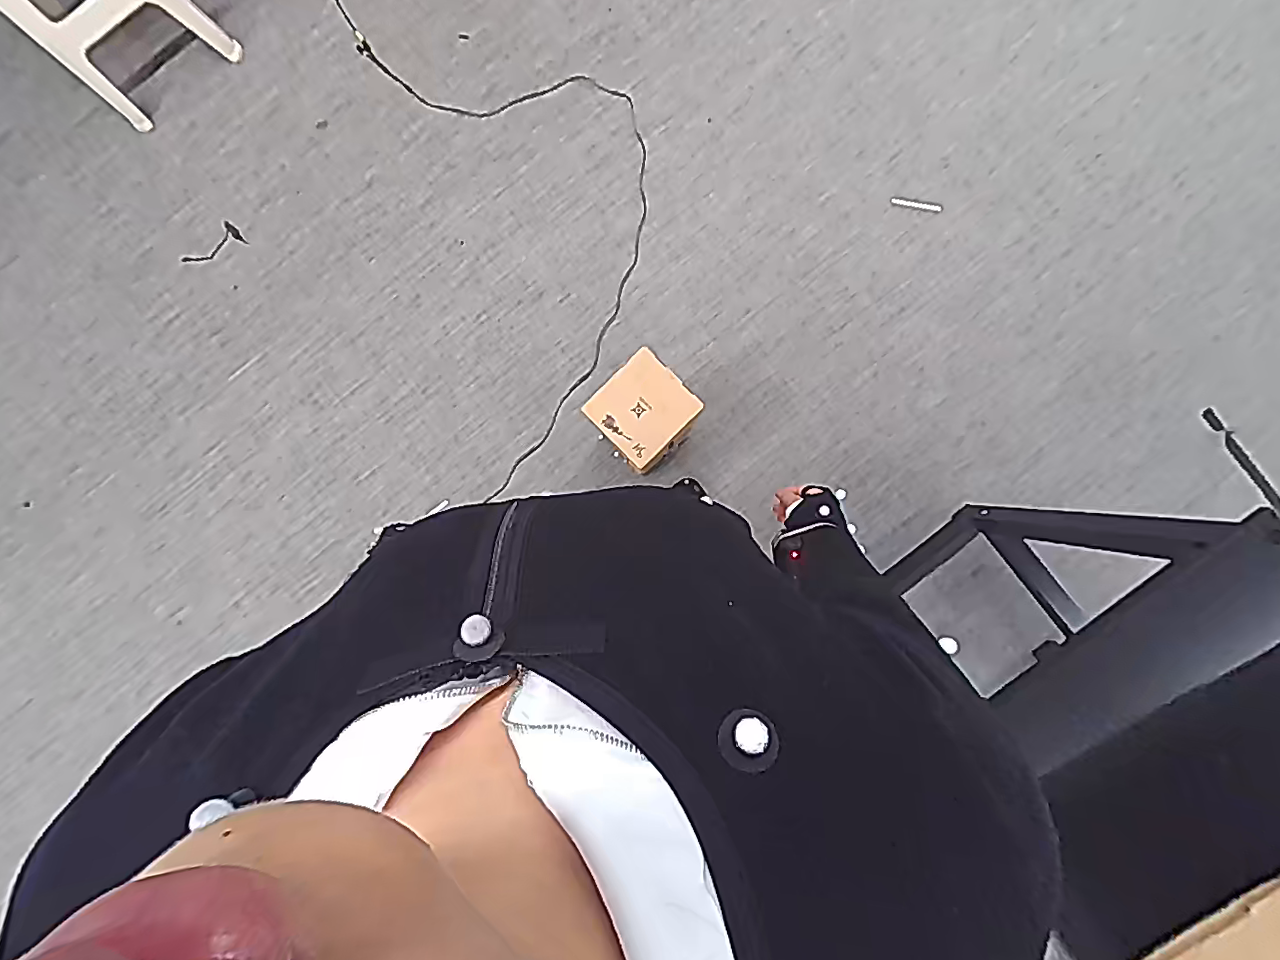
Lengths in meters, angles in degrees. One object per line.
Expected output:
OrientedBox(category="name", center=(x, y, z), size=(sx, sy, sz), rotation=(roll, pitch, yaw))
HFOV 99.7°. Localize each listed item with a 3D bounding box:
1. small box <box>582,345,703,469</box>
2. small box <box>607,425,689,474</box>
OrientedBox(category="small box", center=(0.003, -0.140, 1.104), size=(0.179, 0.176, 0.168), rotation=(-45, 87, 0))
OrientedBox(category="small box", center=(0.009, -0.133, 1.431), size=(0.179, 0.176, 0.168), rotation=(-42, 88, 1))
